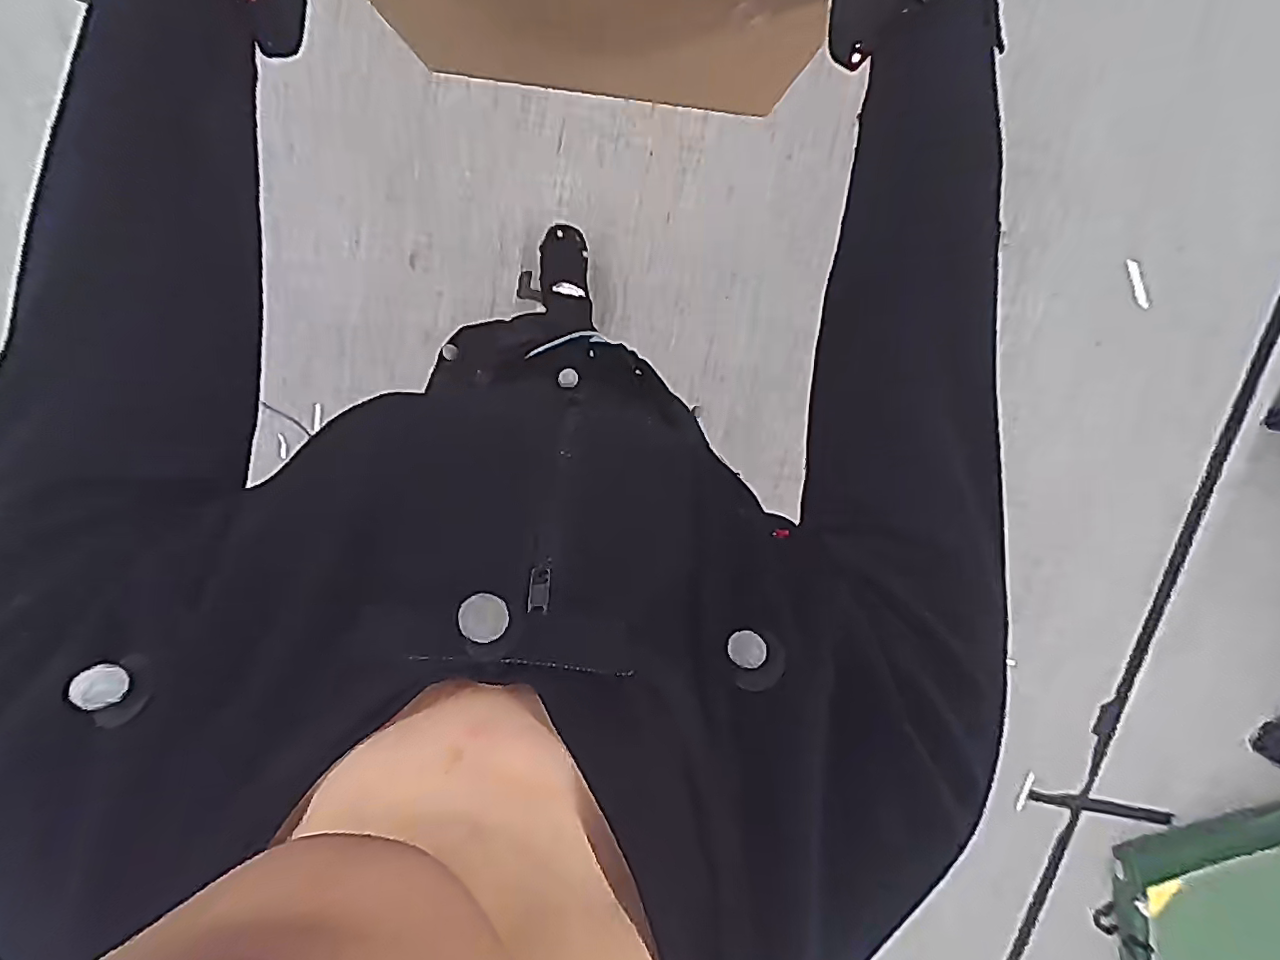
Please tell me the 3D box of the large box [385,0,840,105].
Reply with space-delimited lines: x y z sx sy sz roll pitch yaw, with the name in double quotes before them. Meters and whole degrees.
"large box" -0.026 -0.563 0.456 0.408 0.320 0.320 5 109 -4
